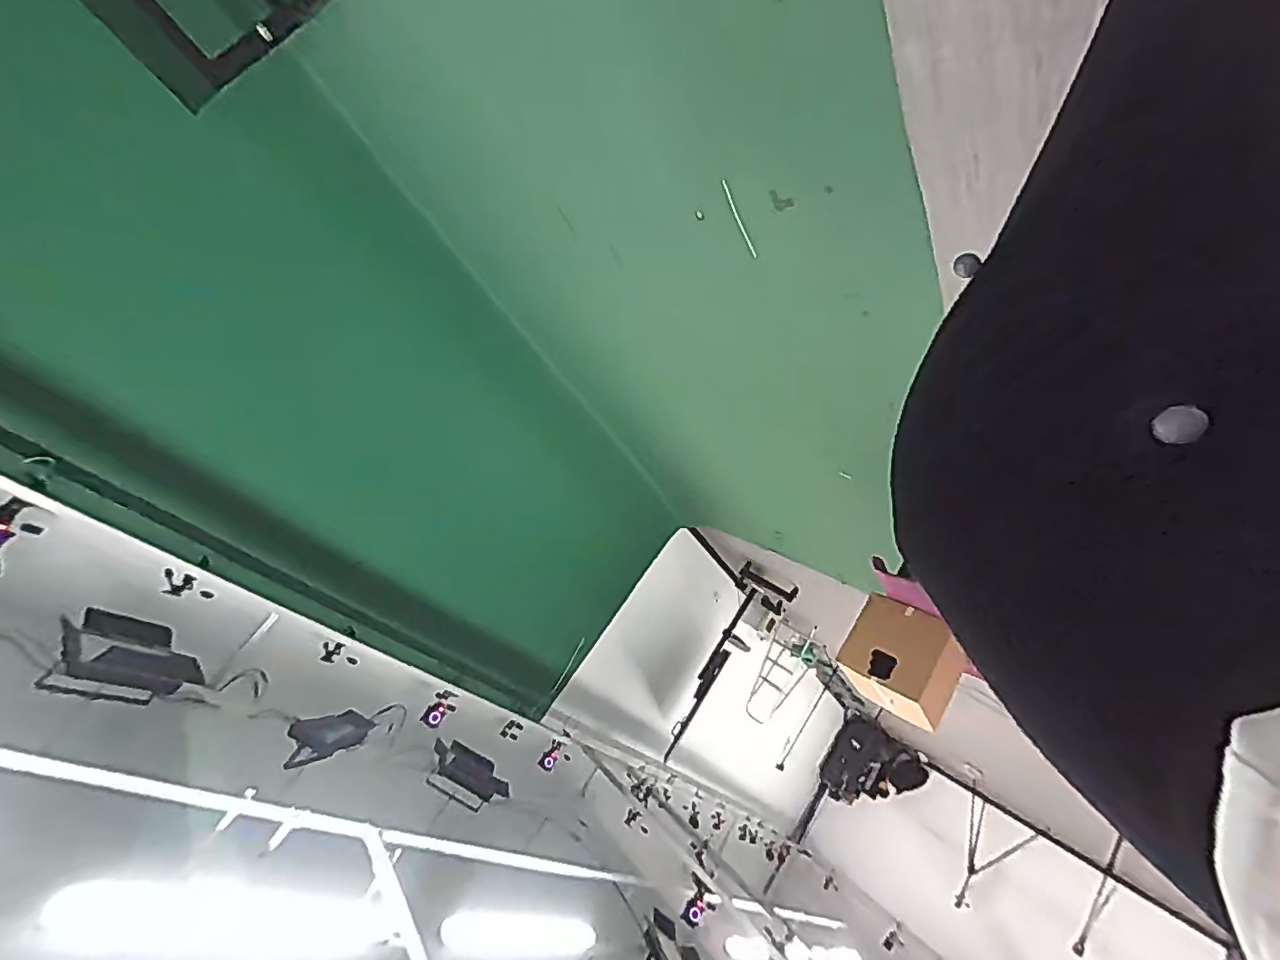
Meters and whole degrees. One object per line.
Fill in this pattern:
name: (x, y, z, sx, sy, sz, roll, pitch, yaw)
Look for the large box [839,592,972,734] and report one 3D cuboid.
large box: (1.020, 0.692, 2.058, 0.320, 0.320, 0.408, 18, 157, 45)
